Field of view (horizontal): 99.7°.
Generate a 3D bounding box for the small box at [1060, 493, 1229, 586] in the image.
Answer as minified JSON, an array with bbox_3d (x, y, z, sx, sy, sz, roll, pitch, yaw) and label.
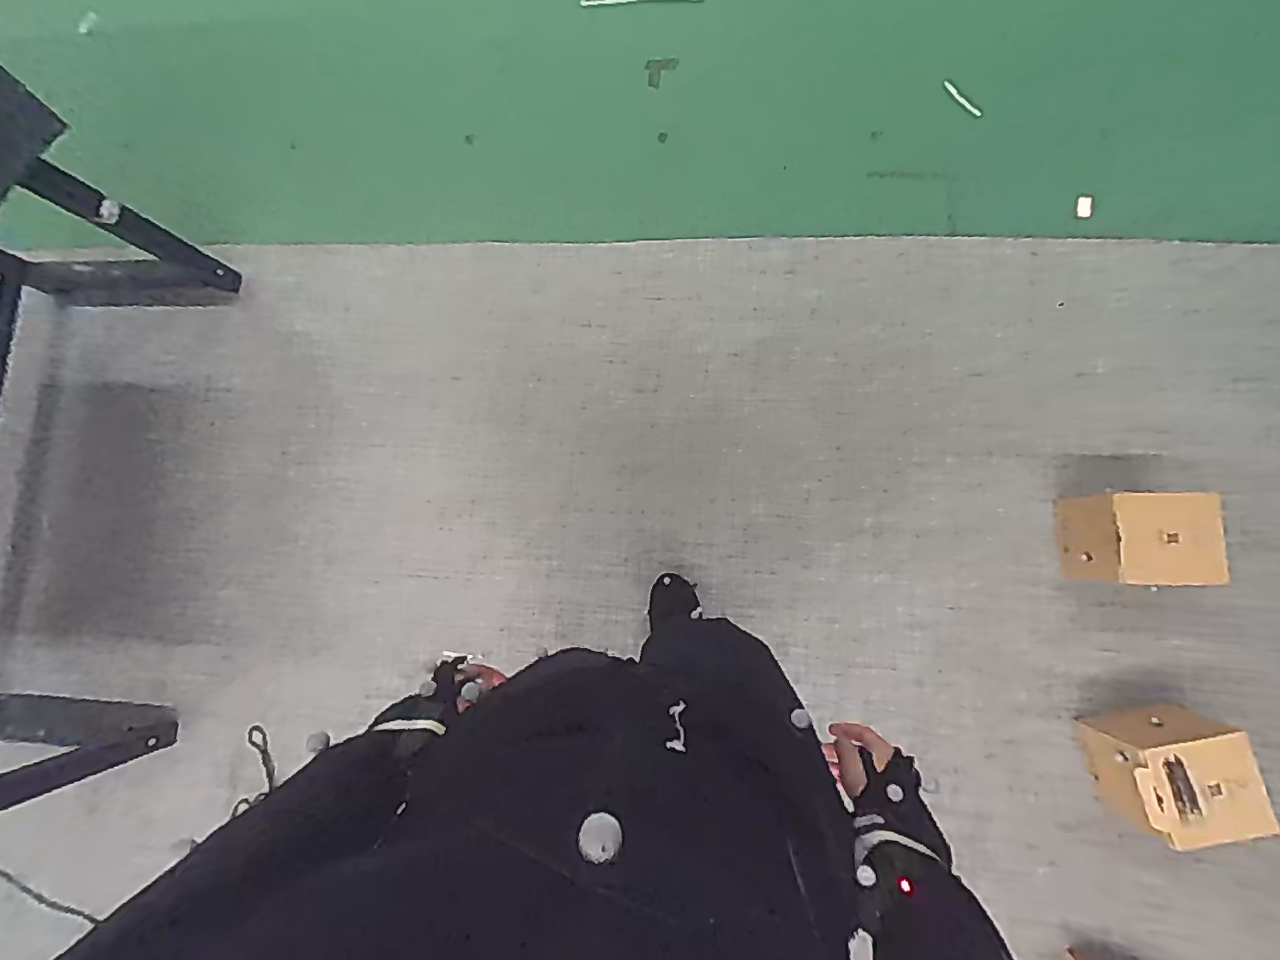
[{"bbox_3d":[0.943,0.114,1.033,0.179,0.176,0.168,-1,84,5],"label":"small box"}]
